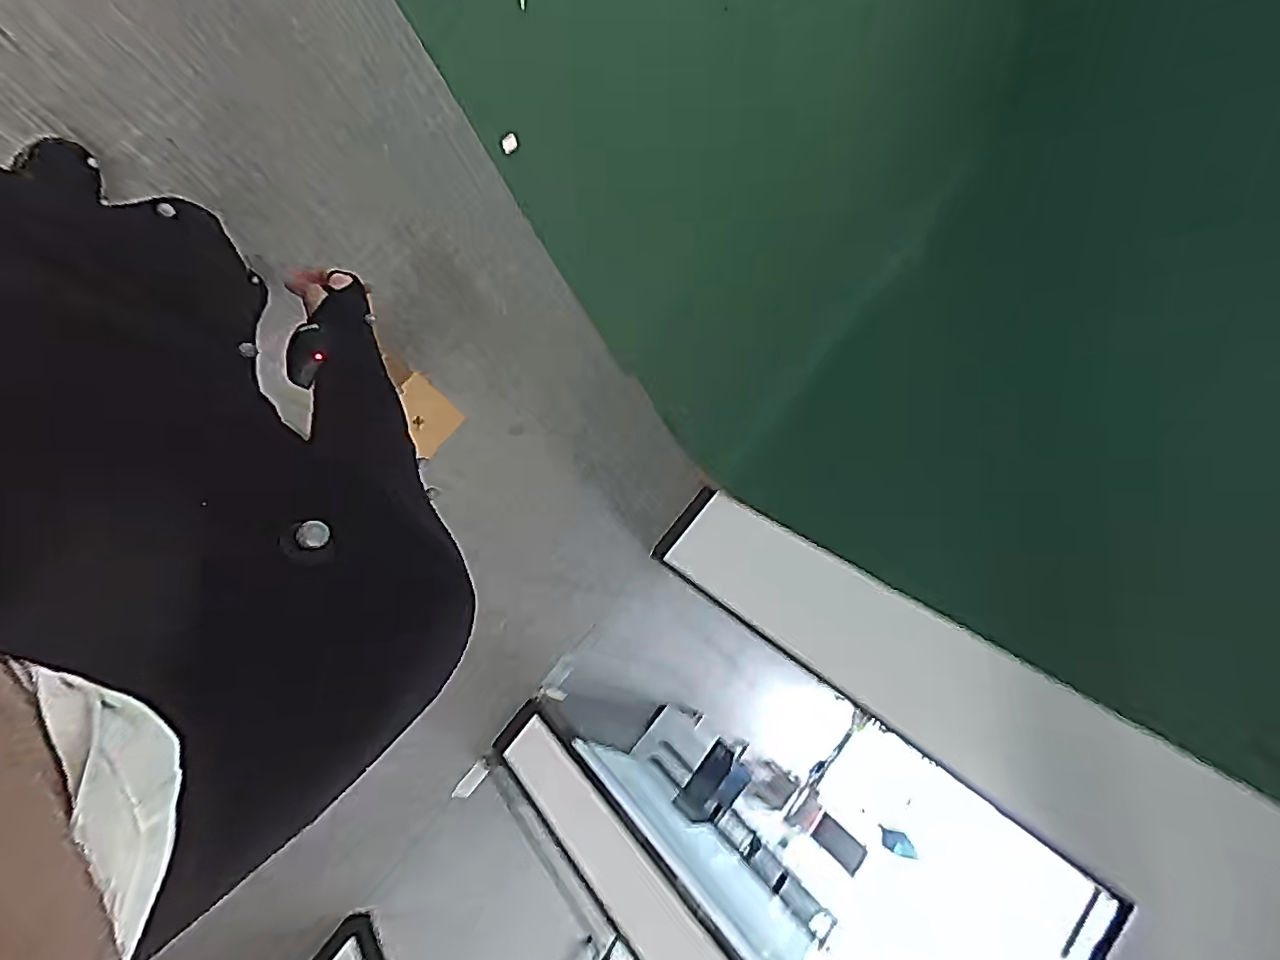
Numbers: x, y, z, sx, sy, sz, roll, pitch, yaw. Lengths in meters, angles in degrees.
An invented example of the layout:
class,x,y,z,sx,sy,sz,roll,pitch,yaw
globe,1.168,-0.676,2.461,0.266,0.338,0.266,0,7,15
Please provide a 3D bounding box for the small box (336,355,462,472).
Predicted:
class,x,y,z,sx,sy,sz,roll,pitch,yaw
small box,-0.549,-0.156,1.227,0.179,0.176,0.168,-50,140,-10

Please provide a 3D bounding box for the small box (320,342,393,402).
class,x,y,z,sx,sy,sz,roll,pitch,yaw
small box,-0.649,-0.222,1.341,0.168,0.176,0.179,-50,141,-9
